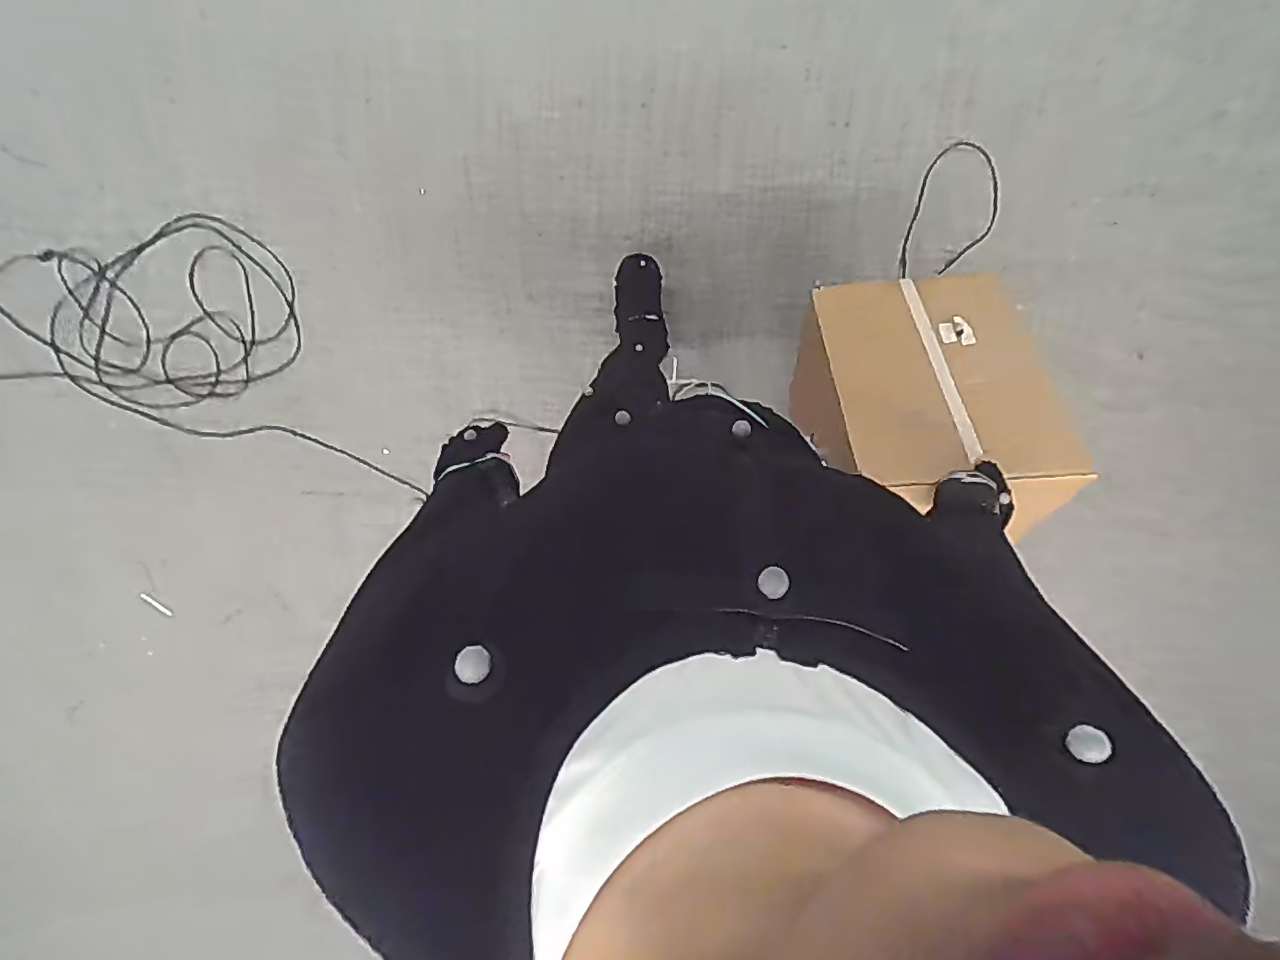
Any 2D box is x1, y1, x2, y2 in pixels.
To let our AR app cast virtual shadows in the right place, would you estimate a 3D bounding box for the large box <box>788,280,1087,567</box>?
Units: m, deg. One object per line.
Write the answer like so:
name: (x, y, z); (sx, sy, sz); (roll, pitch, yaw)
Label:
large box: (0.470, -0.092, 0.974); (0.320, 0.320, 0.408); (-3, 58, 4)
